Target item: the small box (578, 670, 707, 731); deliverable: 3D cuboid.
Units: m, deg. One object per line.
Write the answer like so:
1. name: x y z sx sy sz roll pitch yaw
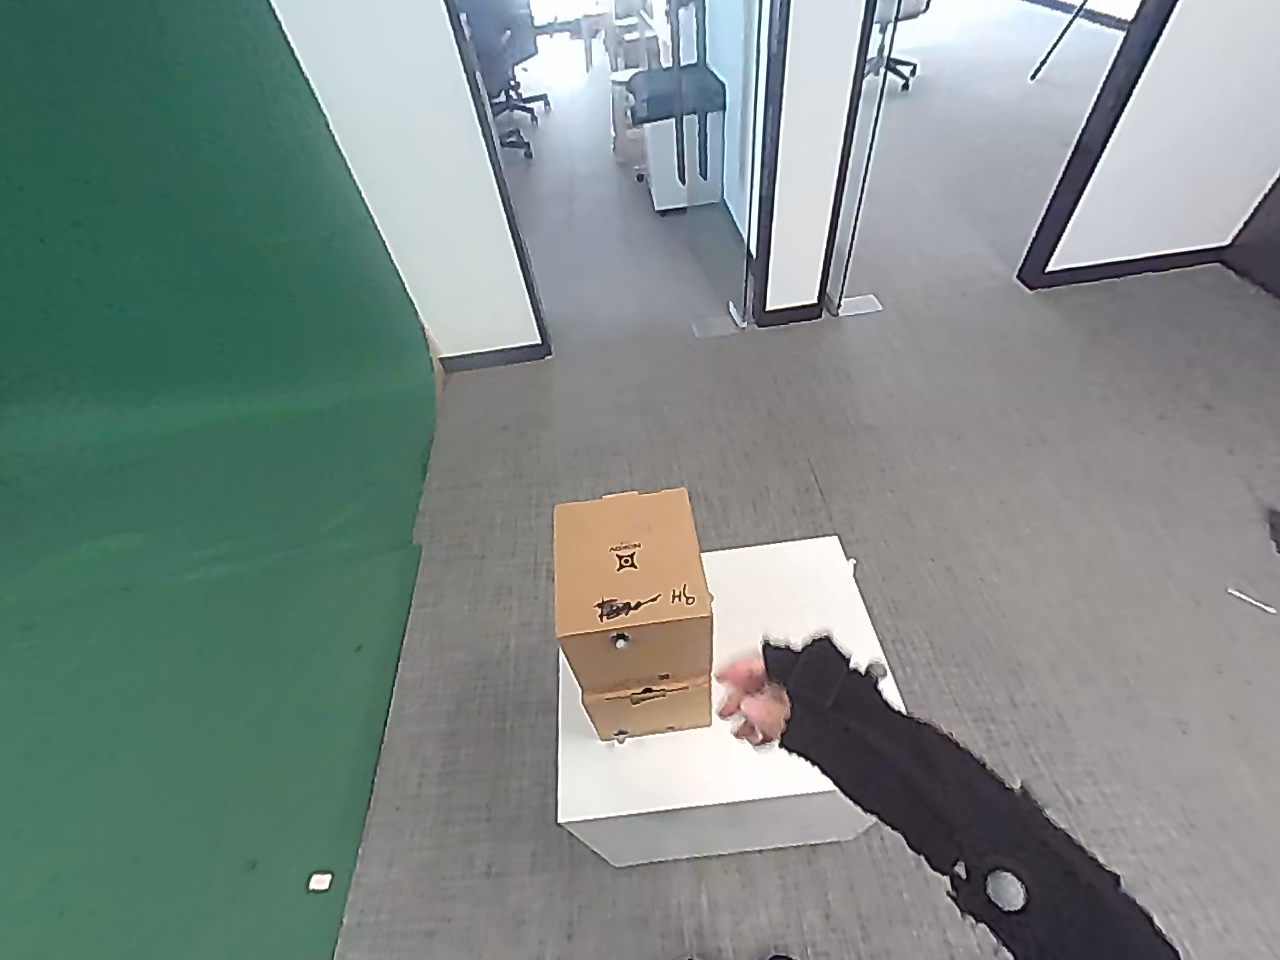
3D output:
1. small box: 0.005 0.252 0.792 0.168 0.176 0.179 -8 48 0

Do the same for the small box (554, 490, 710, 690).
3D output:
1. small box: -0.009 0.138 0.676 0.168 0.176 0.179 -8 48 1
